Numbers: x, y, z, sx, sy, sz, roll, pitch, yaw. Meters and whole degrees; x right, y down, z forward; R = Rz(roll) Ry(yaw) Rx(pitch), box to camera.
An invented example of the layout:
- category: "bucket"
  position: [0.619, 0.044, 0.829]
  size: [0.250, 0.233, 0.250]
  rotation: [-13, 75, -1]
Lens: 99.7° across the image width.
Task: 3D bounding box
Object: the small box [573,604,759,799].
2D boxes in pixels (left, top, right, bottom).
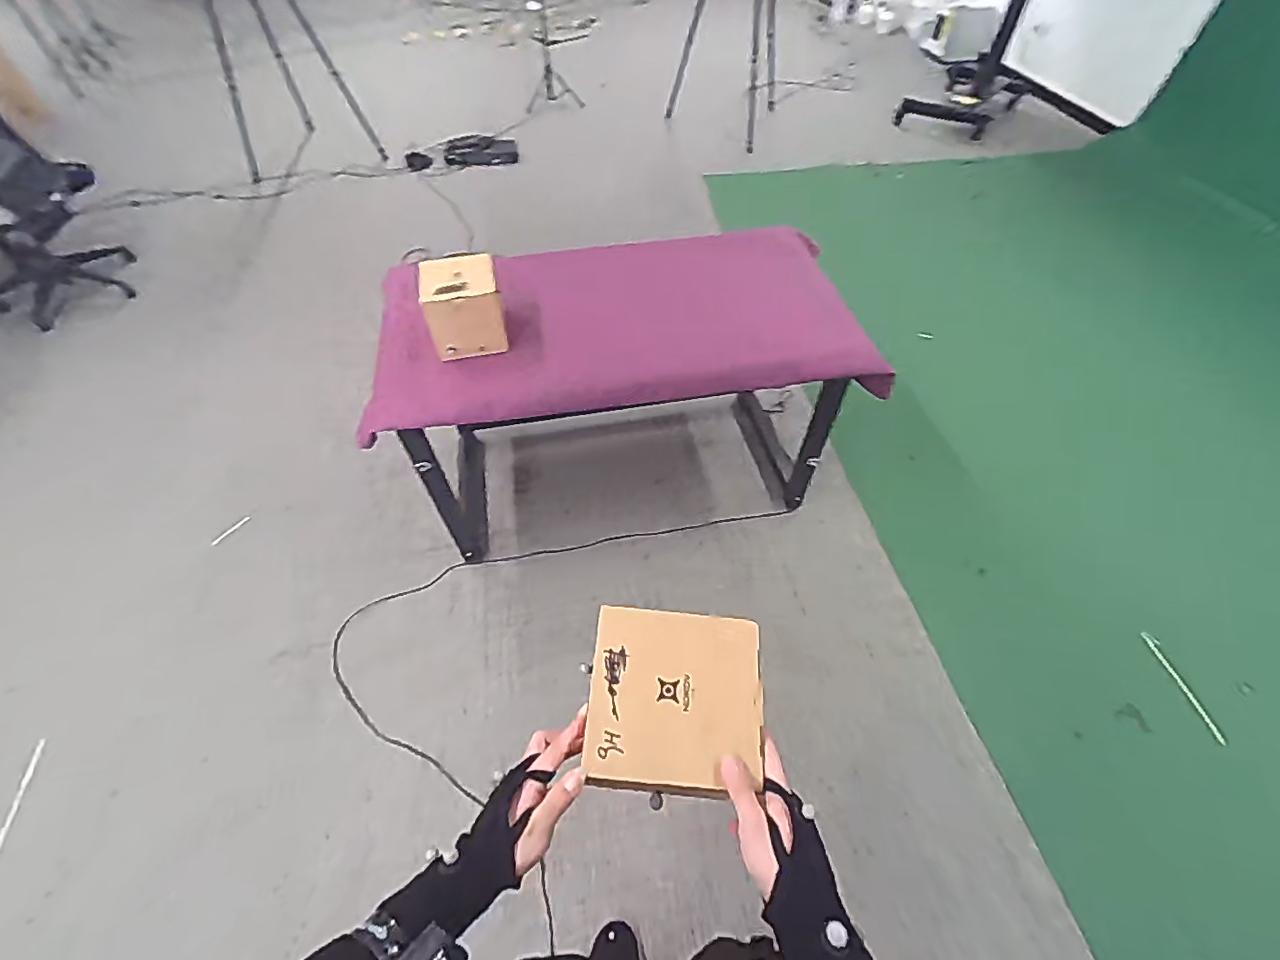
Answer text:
- category: "small box"
  position: [0.024, 0.255, 0.609]
  size: [0.179, 0.176, 0.168]
  rotation: [7, 56, -2]

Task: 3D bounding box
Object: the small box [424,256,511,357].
- category: "small box"
  position: [-0.417, -0.415, 1.320]
  size: [0.168, 0.176, 0.179]
  rotation: [-10, 52, -9]
